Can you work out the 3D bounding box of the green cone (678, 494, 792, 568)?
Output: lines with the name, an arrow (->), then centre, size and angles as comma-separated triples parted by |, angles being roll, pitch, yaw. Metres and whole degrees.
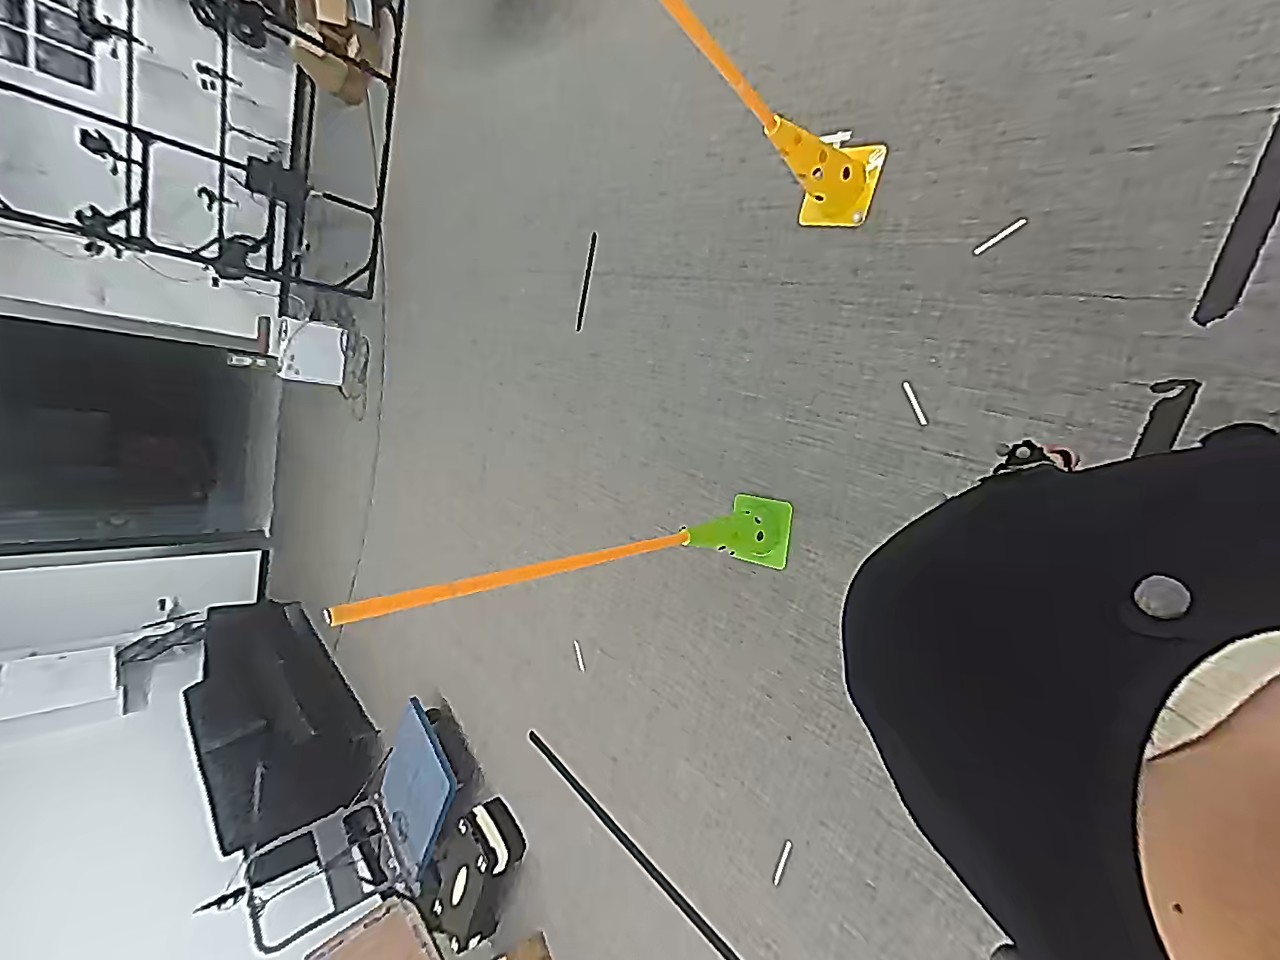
green cone -> 0.238, 0.143, 1.493 | 0.200, 0.368, 0.202 | 10, 95, 44
